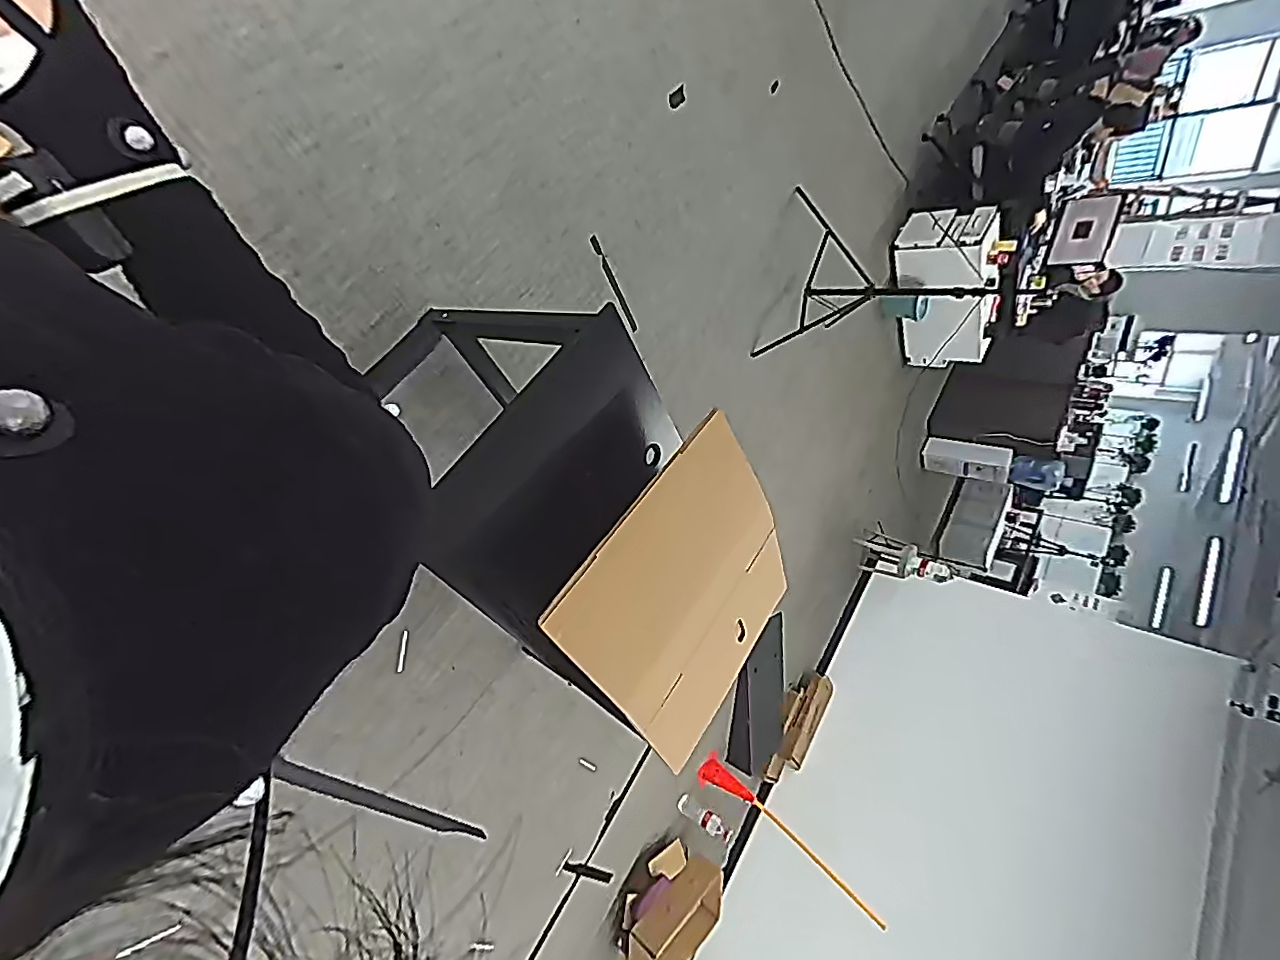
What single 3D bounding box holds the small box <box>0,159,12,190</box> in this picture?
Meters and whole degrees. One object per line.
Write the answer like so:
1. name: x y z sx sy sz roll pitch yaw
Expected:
1. small box: -1.122 -0.482 0.812 0.179 0.176 0.168 -57 137 -19
